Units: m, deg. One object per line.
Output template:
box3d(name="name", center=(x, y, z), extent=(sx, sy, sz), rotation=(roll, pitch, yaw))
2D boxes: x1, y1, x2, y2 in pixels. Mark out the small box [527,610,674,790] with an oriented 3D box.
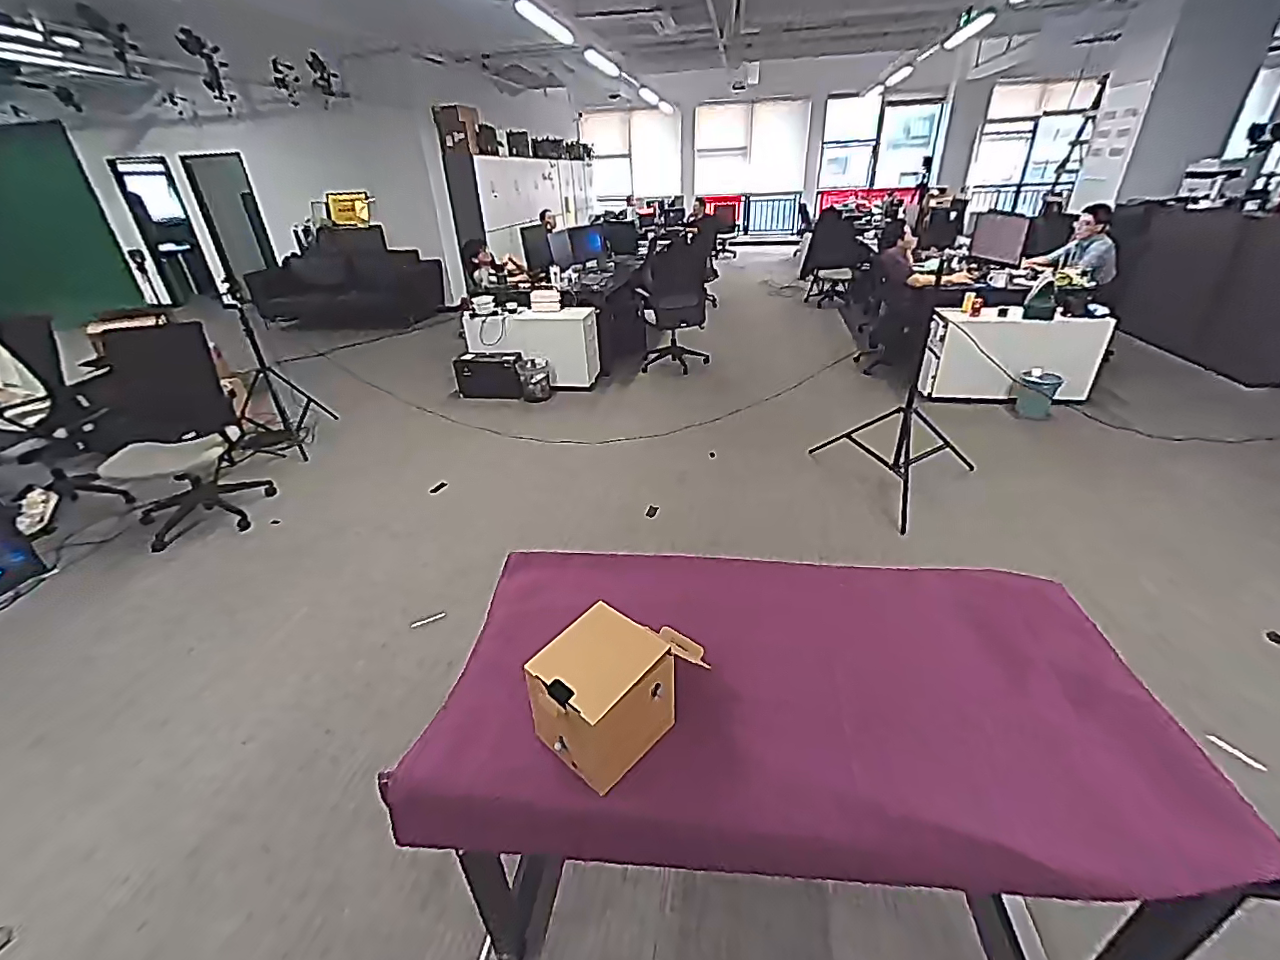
box3d(name="small box", center=(-0.061, 0.355, 0.890), extent=(0.168, 0.176, 0.179), rotation=(22, 37, 38))
